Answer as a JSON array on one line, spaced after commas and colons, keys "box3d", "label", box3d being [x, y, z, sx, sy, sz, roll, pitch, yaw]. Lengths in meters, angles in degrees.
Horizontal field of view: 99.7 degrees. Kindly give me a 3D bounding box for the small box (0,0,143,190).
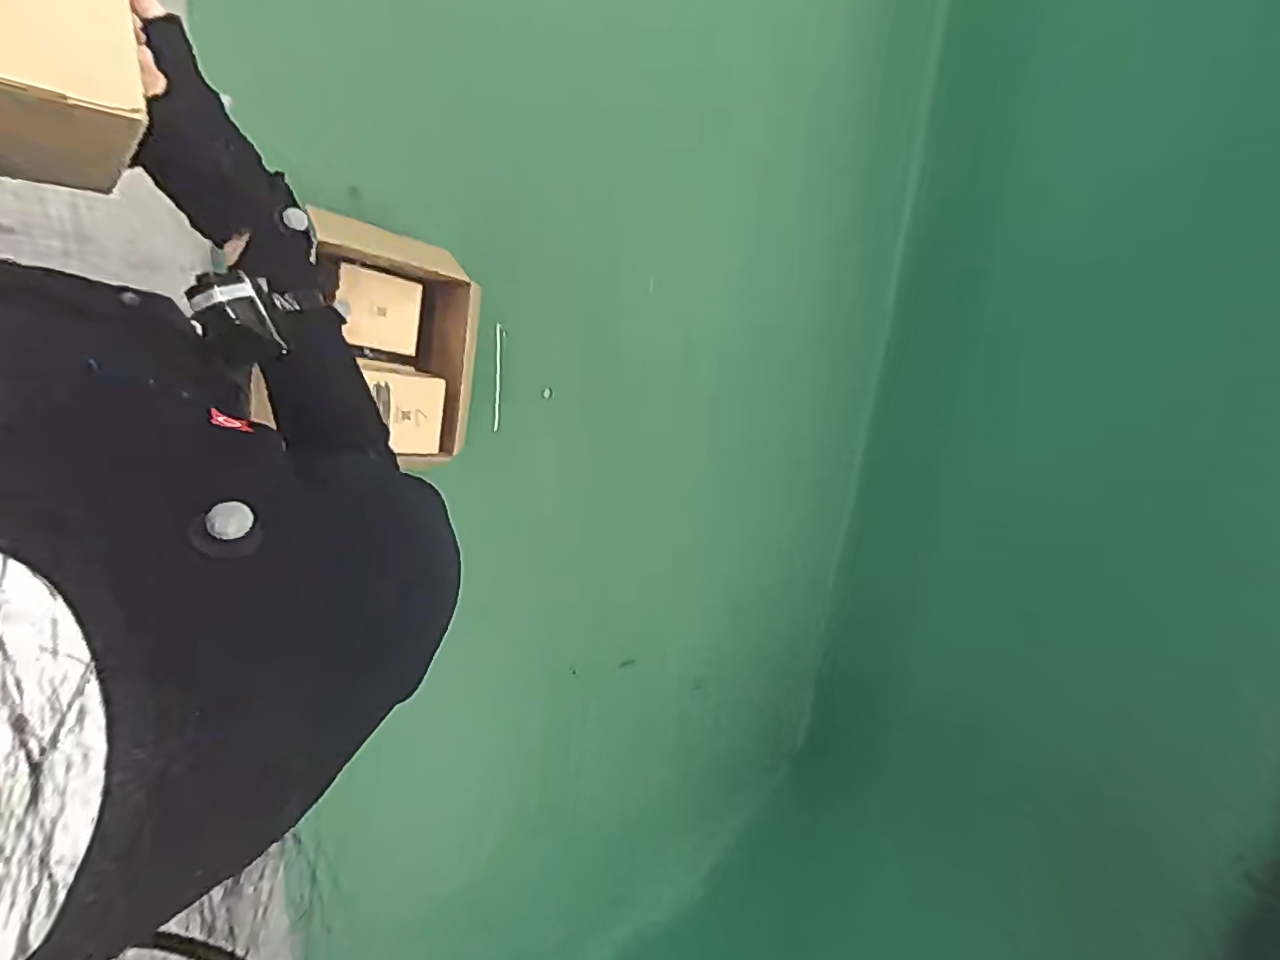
[{"box3d": [-0.384, -0.275, 0.268, 0.168, 0.176, 0.179, -13, 105, -48], "label": "small box"}]
